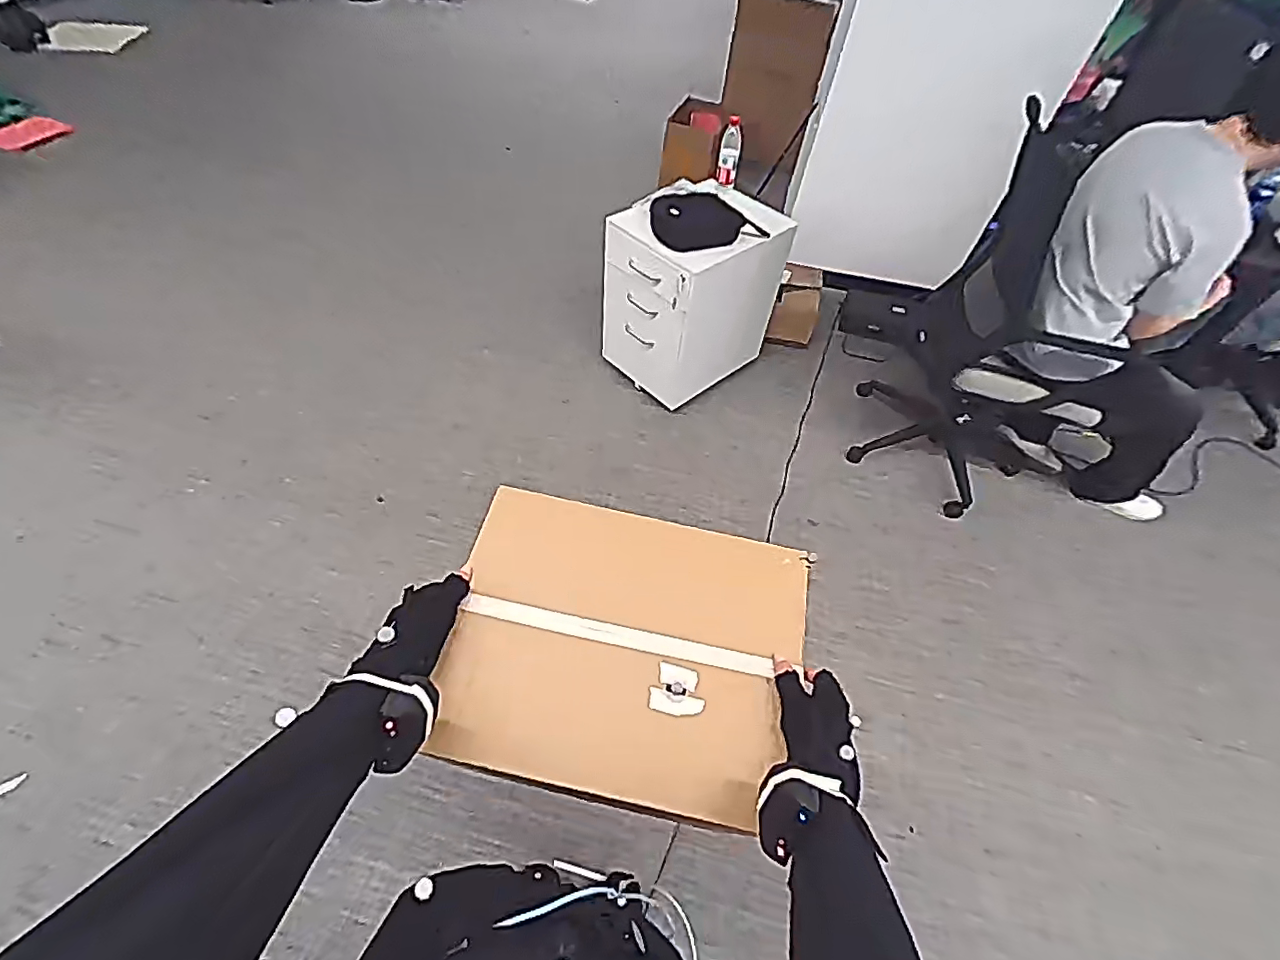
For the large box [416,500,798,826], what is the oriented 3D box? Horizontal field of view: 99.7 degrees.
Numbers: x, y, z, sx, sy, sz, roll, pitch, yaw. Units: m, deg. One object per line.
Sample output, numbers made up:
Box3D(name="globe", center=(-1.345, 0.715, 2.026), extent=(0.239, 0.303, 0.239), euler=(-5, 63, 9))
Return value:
Box3D(name="large box", center=(-0.028, 0.265, 0.759), extent=(0.408, 0.320, 0.320), euler=(12, 59, 2))
